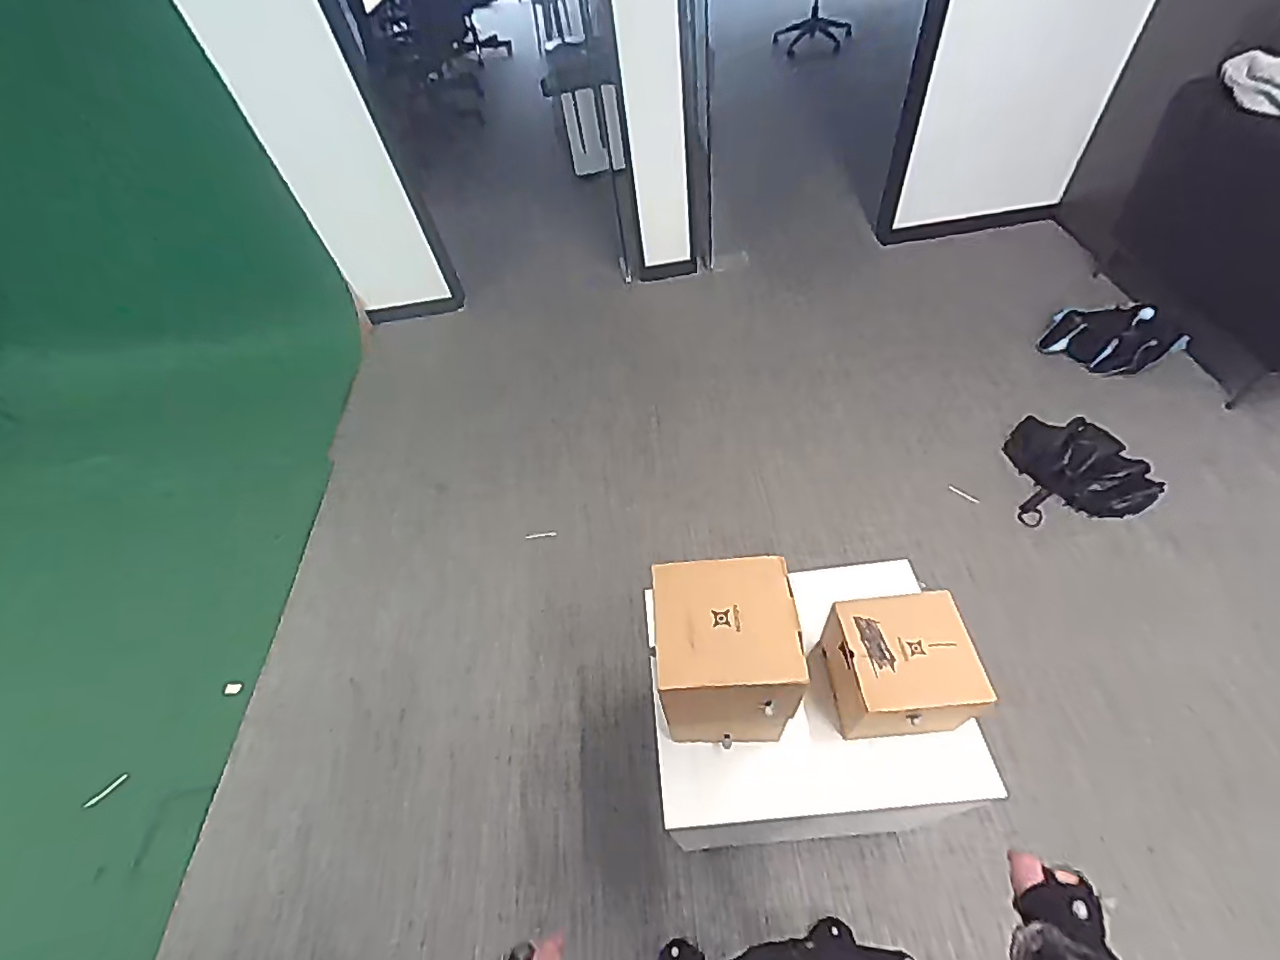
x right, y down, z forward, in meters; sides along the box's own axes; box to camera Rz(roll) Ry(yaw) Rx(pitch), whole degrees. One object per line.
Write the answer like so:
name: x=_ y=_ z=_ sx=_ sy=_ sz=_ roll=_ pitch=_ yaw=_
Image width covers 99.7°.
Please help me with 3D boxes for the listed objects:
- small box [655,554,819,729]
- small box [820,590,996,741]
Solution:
small box: x=0.114 y=0.214 z=0.707 sx=0.179 sy=0.176 sz=0.168 roll=-5 pitch=50 yaw=2
small box: x=0.389 y=0.288 z=0.829 sx=0.179 sy=0.176 sz=0.168 roll=-6 pitch=51 yaw=0
